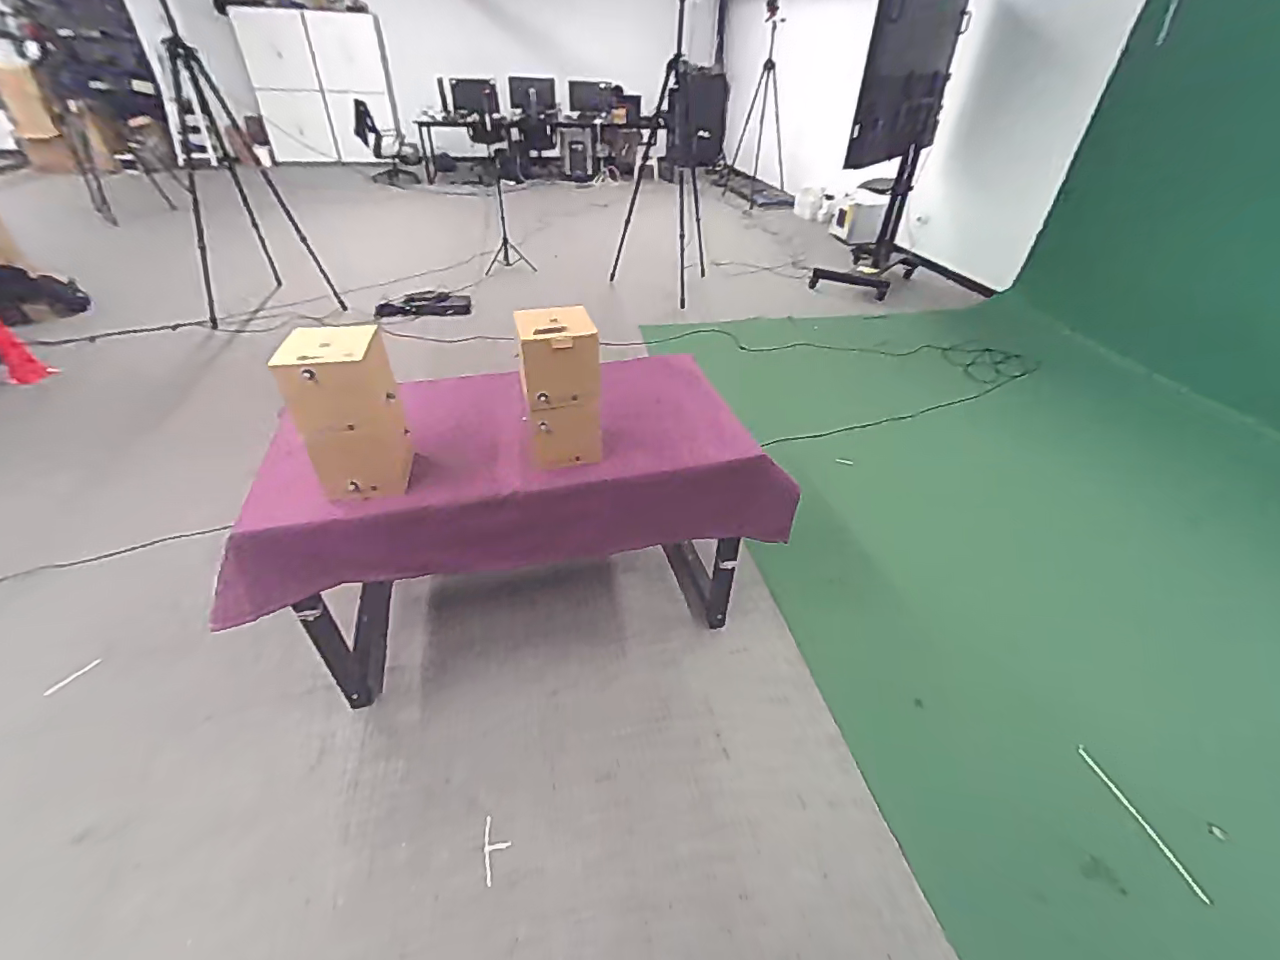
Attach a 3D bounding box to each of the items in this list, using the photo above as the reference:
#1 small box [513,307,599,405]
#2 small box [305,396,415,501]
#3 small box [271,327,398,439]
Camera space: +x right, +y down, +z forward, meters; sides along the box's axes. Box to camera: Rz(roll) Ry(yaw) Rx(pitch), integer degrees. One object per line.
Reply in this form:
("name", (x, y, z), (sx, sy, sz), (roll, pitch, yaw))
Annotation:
("small box", (-0.191, -0.280, 1.240), (0.168, 0.176, 0.179), (-9, 38, -13))
("small box", (-0.623, -0.073, 1.229), (0.168, 0.176, 0.179), (-6, 39, -9))
("small box", (-0.620, -0.203, 1.127), (0.168, 0.176, 0.179), (-7, 38, -8))
